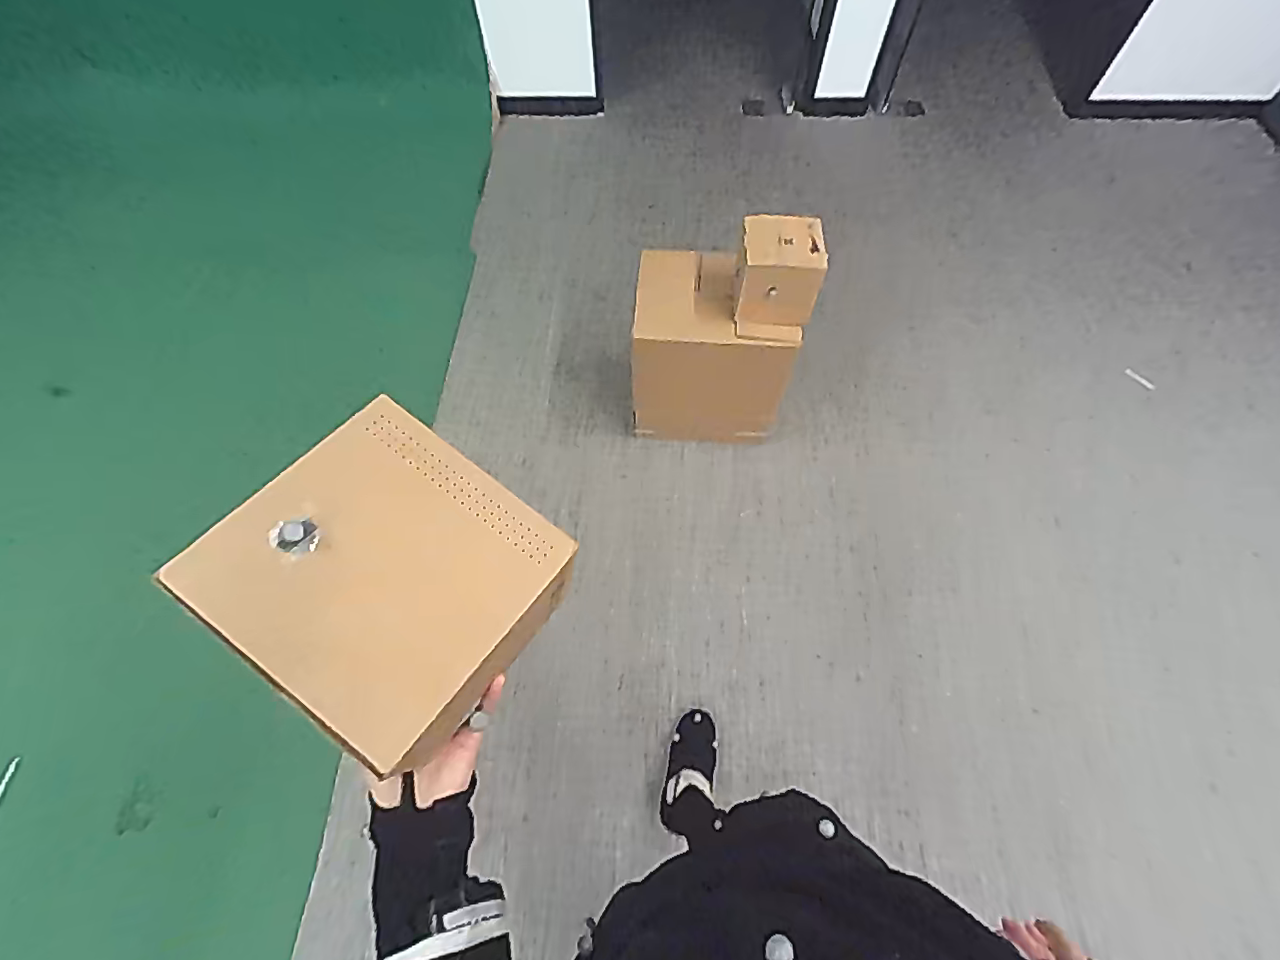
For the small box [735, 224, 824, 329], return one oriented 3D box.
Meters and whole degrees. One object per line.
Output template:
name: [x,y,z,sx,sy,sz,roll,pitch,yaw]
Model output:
small box: [0.316,-0.471,1.264,0.179,0.176,0.168,2,63,3]
